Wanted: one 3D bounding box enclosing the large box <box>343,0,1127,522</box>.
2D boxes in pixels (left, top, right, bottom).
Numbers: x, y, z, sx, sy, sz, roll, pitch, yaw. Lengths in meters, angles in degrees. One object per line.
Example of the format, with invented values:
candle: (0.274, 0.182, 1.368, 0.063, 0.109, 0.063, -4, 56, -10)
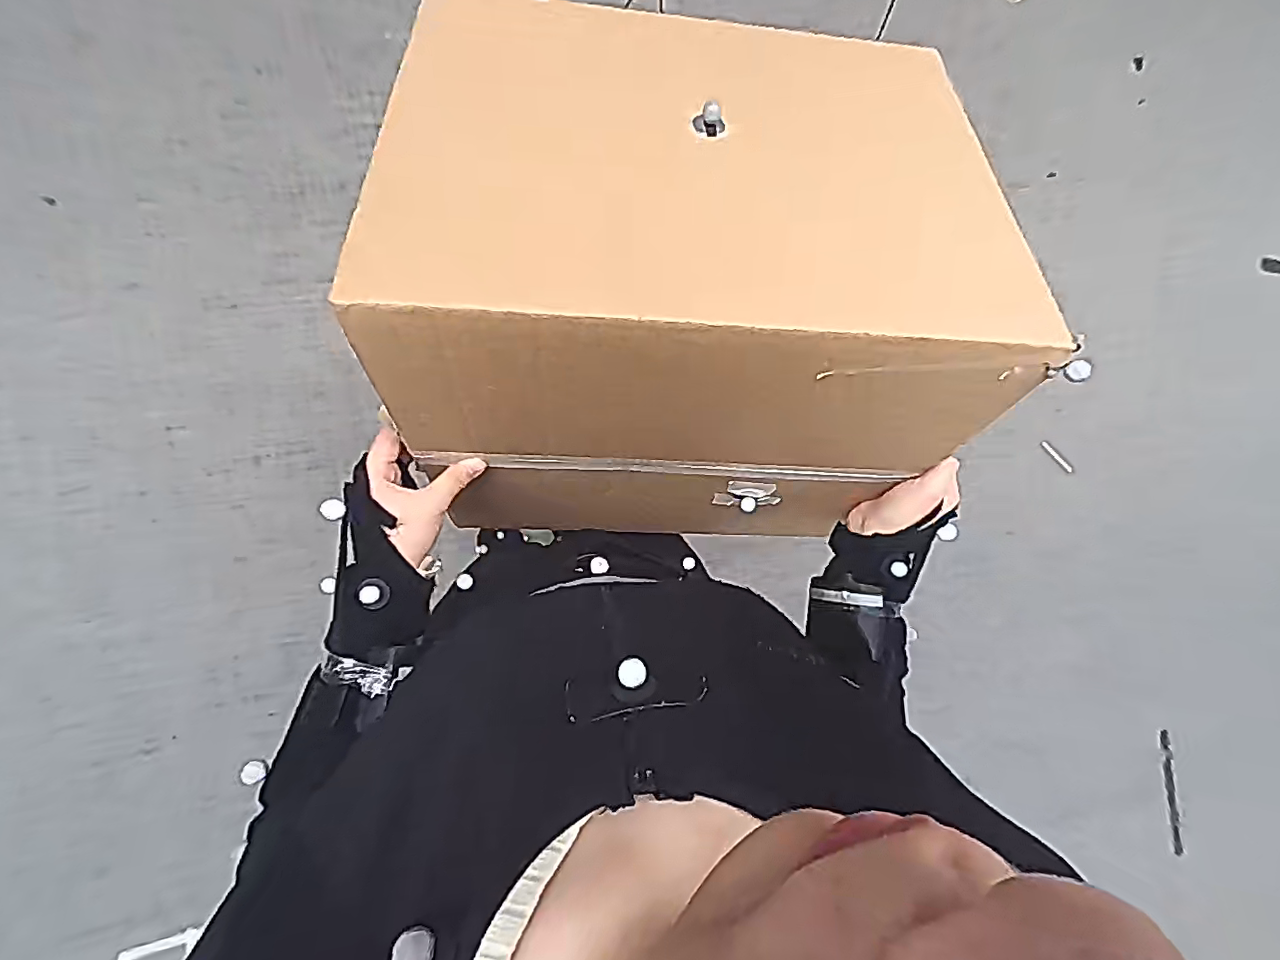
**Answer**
large box: (0.040, -0.162, 0.462, 0.408, 0.320, 0.320, 1, 65, -6)
